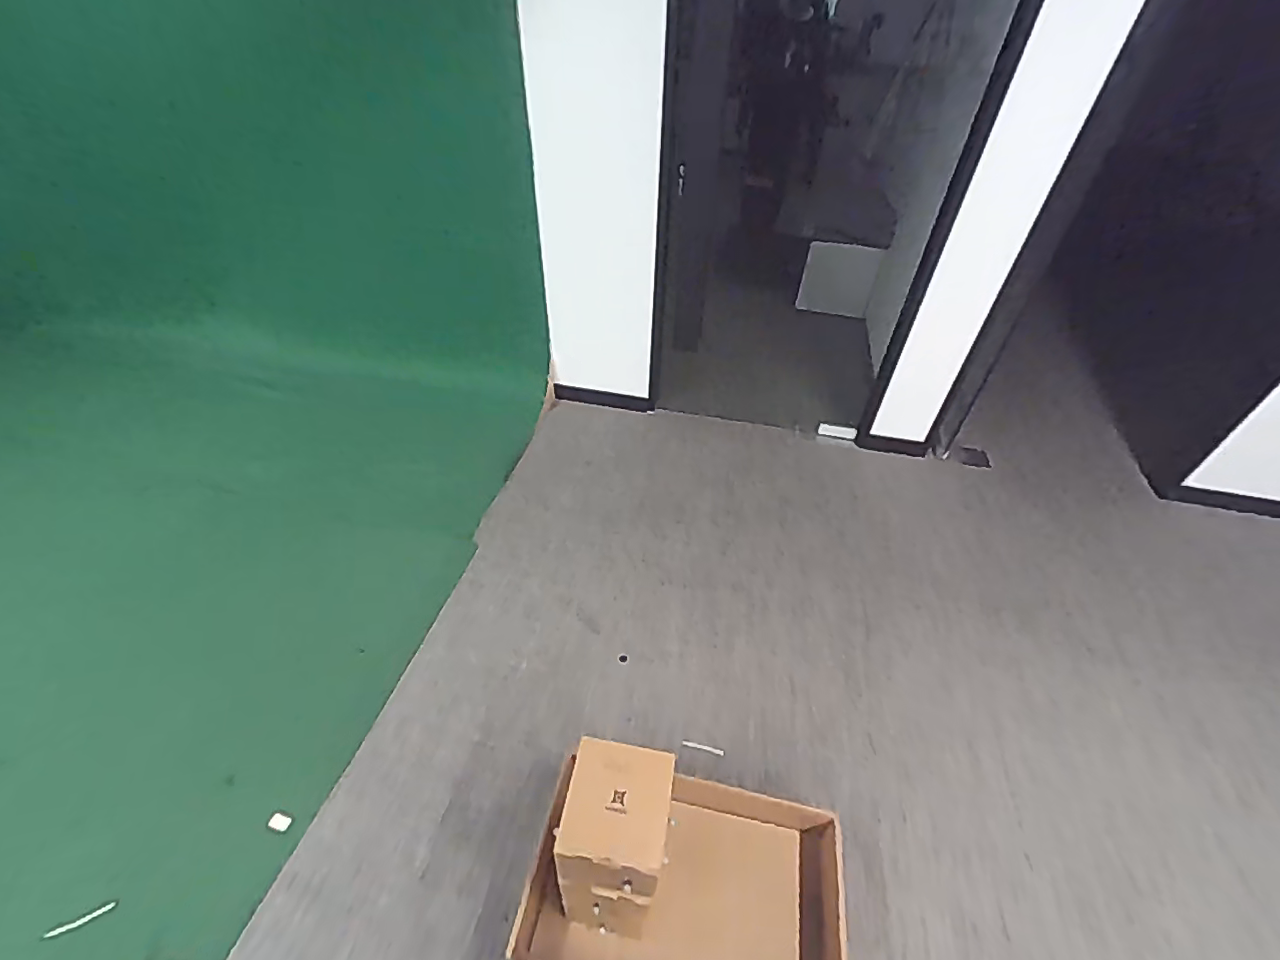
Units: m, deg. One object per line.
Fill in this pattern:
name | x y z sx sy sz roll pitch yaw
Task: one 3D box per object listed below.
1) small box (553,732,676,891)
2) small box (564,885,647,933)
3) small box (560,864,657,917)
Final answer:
small box | -0.038 0.560 0.911 0.168 0.176 0.179 10 43 5
small box | -0.053 0.804 1.128 0.168 0.176 0.179 11 44 8
small box | -0.045 0.684 1.018 0.168 0.176 0.179 11 44 7
